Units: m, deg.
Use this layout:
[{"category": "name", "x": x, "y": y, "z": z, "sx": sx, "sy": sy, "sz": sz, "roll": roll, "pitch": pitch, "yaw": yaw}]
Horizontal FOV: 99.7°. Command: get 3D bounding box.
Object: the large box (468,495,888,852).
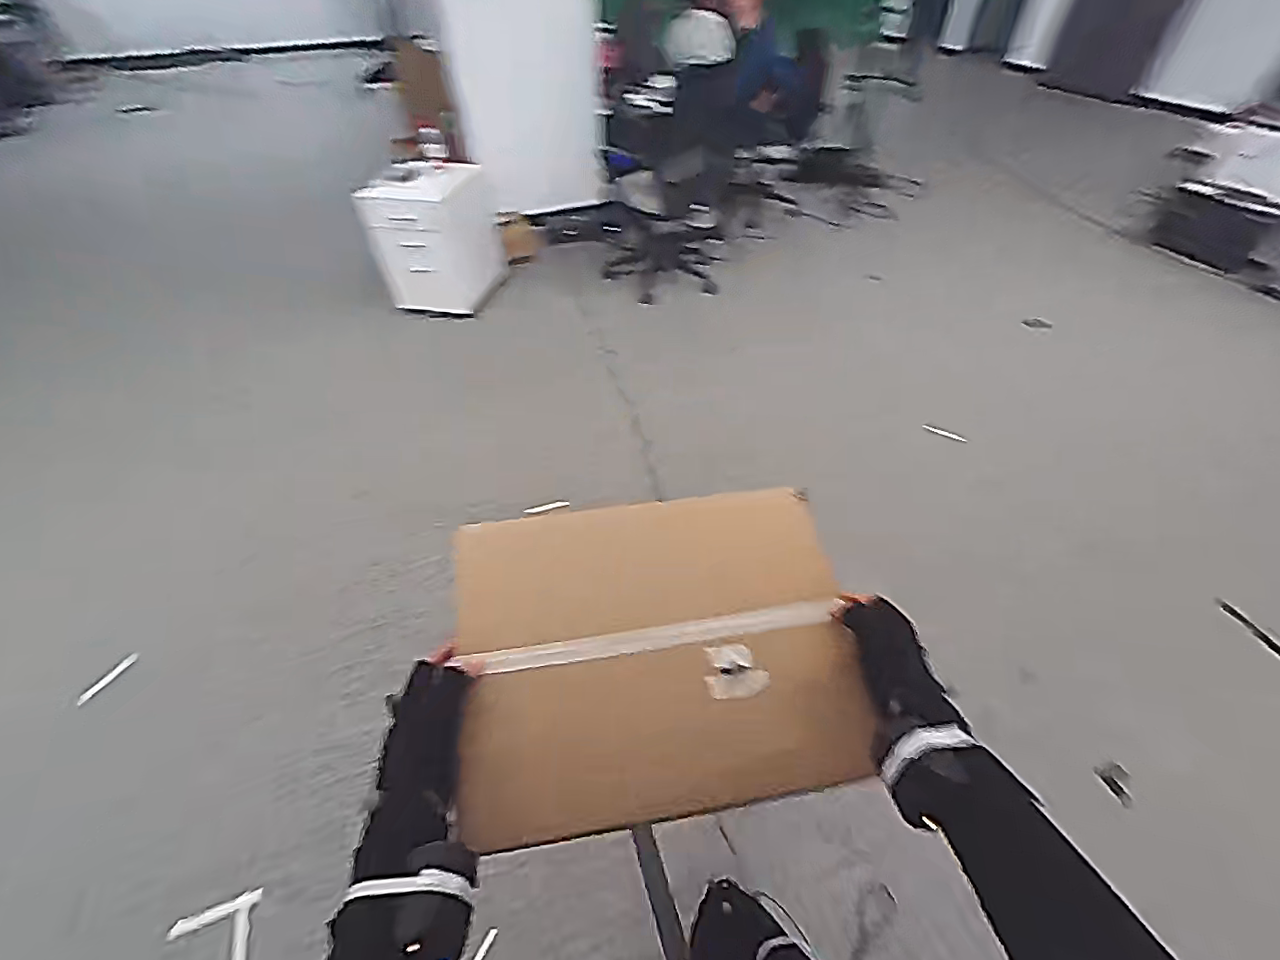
[{"category": "large box", "x": 0.014, "y": 0.250, "z": 0.697, "sx": 0.408, "sy": 0.320, "sz": 0.320, "roll": -6, "pitch": 59, "yaw": -8}]
